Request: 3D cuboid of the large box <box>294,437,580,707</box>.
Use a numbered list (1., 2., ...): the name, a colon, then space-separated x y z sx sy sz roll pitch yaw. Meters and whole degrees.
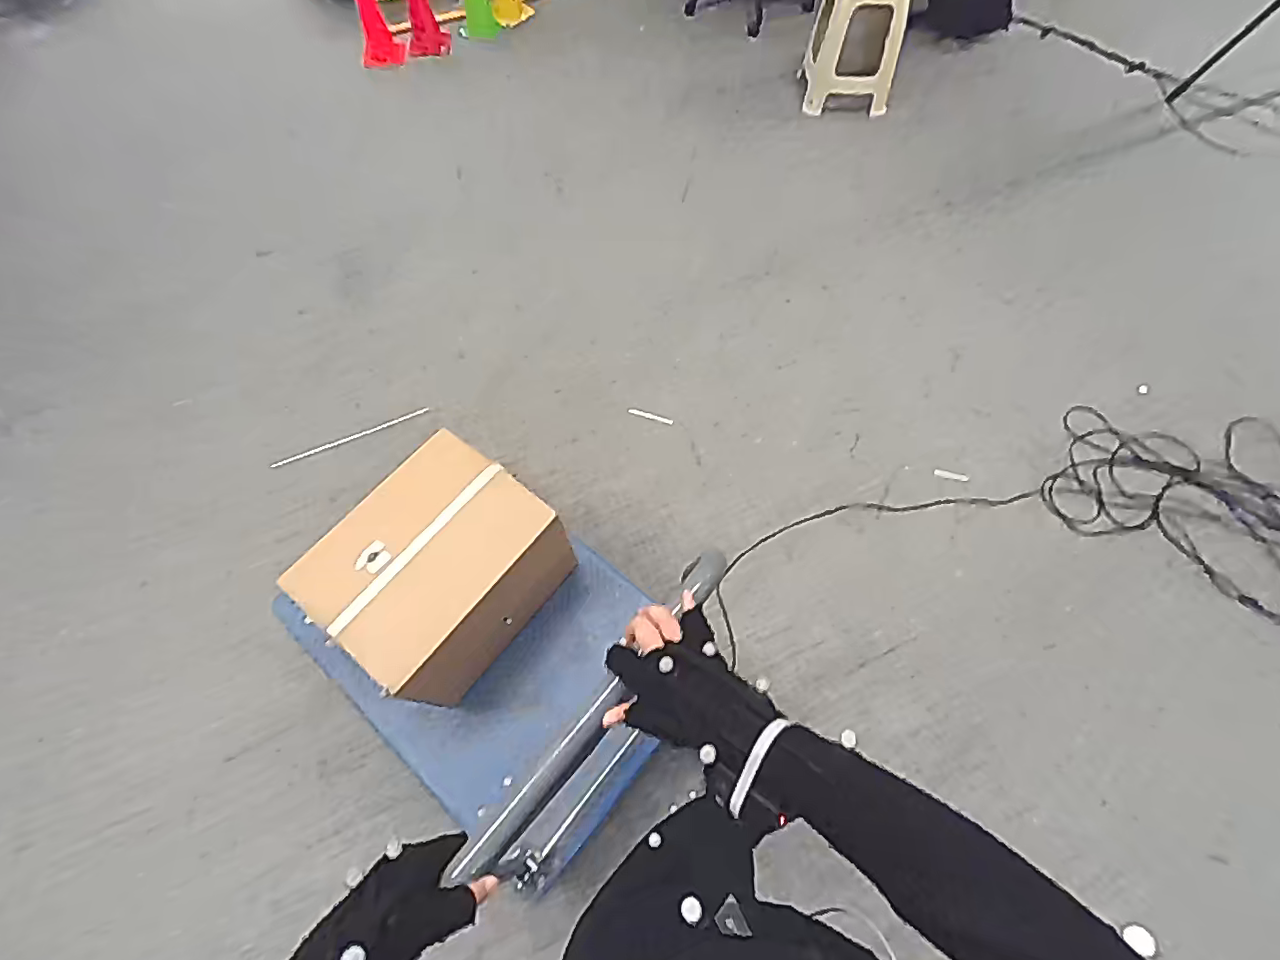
1. large box: -0.375 0.198 1.116 0.320 0.320 0.408 34 70 16
